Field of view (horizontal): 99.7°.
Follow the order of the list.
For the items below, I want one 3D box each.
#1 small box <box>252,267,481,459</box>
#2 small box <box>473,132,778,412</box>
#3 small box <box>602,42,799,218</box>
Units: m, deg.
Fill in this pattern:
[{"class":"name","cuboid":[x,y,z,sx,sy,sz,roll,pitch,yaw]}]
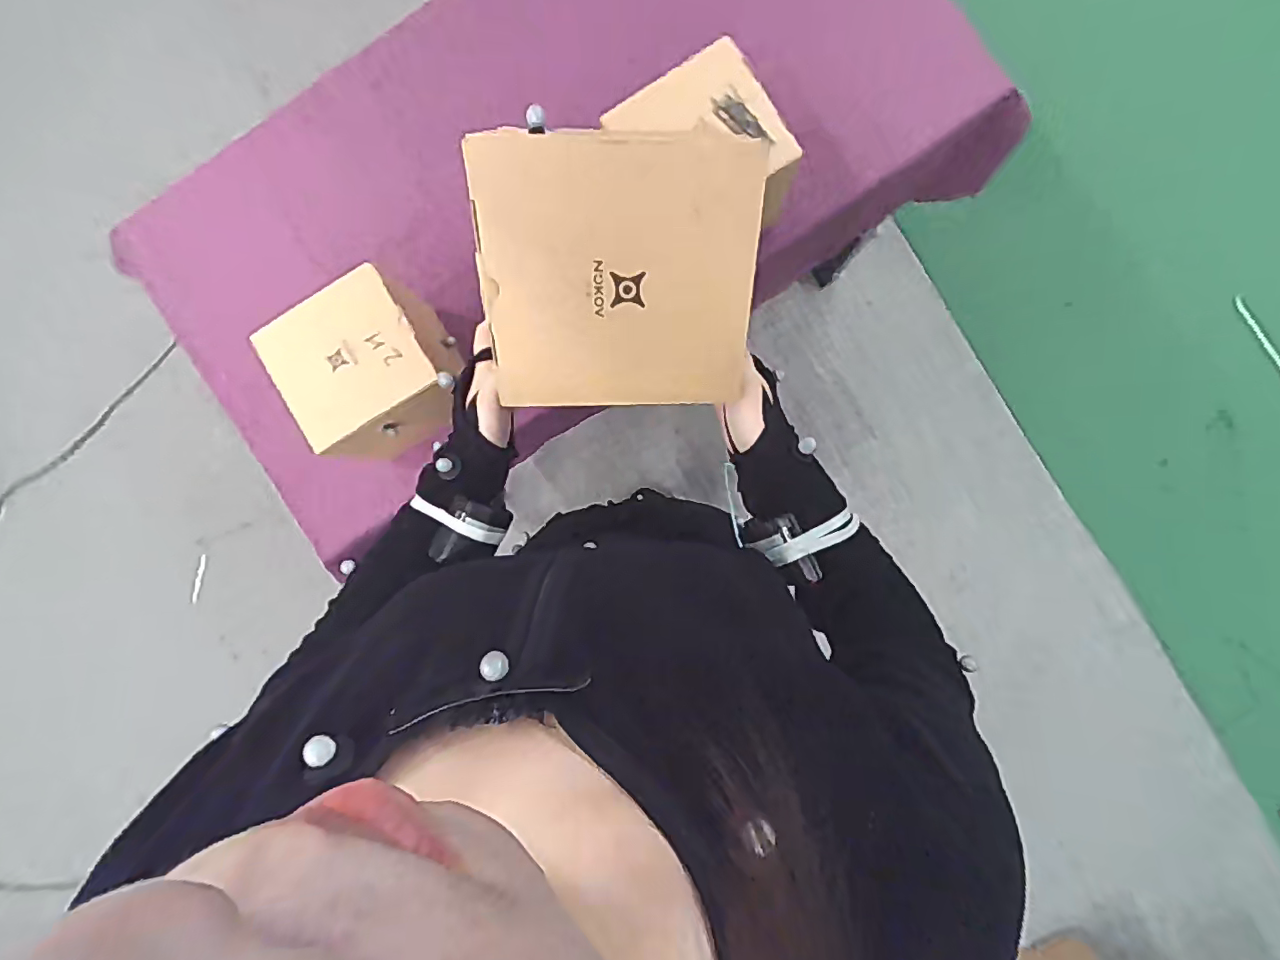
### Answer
[{"class":"small box","cuboid":[-0.343,-0.138,0.714,0.179,0.176,0.168,-31,88,2]},{"class":"small box","cuboid":[-0.014,-0.163,0.413,0.179,0.176,0.168,0,124,-3]},{"class":"small box","cuboid":[0.072,-0.389,0.698,0.179,0.176,0.168,-31,88,3]}]
